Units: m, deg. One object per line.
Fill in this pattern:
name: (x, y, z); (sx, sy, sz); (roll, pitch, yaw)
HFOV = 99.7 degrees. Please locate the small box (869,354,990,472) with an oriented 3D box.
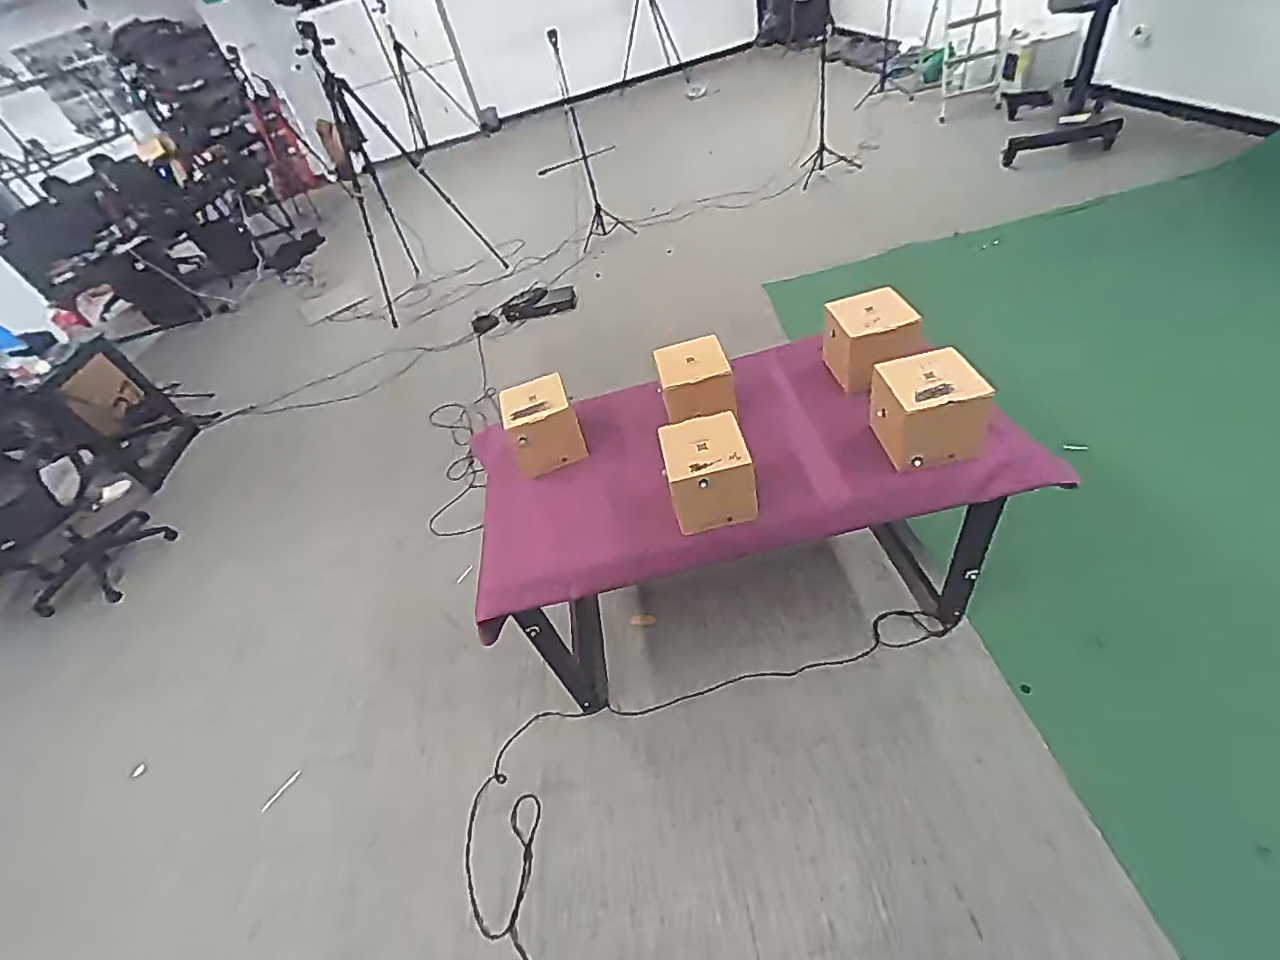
small box: (0.597, -0.133, 1.138); (0.168, 0.176, 0.179); (-12, 42, 7)

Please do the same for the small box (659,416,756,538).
small box: (0.142, -0.005, 1.150); (0.168, 0.176, 0.179); (-13, 42, 4)

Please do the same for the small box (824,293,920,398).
small box: (0.566, -0.333, 1.347); (0.168, 0.176, 0.179); (-14, 45, 4)

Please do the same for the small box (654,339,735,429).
small box: (0.139, -0.226, 1.374); (0.168, 0.176, 0.179); (-14, 45, 3)
